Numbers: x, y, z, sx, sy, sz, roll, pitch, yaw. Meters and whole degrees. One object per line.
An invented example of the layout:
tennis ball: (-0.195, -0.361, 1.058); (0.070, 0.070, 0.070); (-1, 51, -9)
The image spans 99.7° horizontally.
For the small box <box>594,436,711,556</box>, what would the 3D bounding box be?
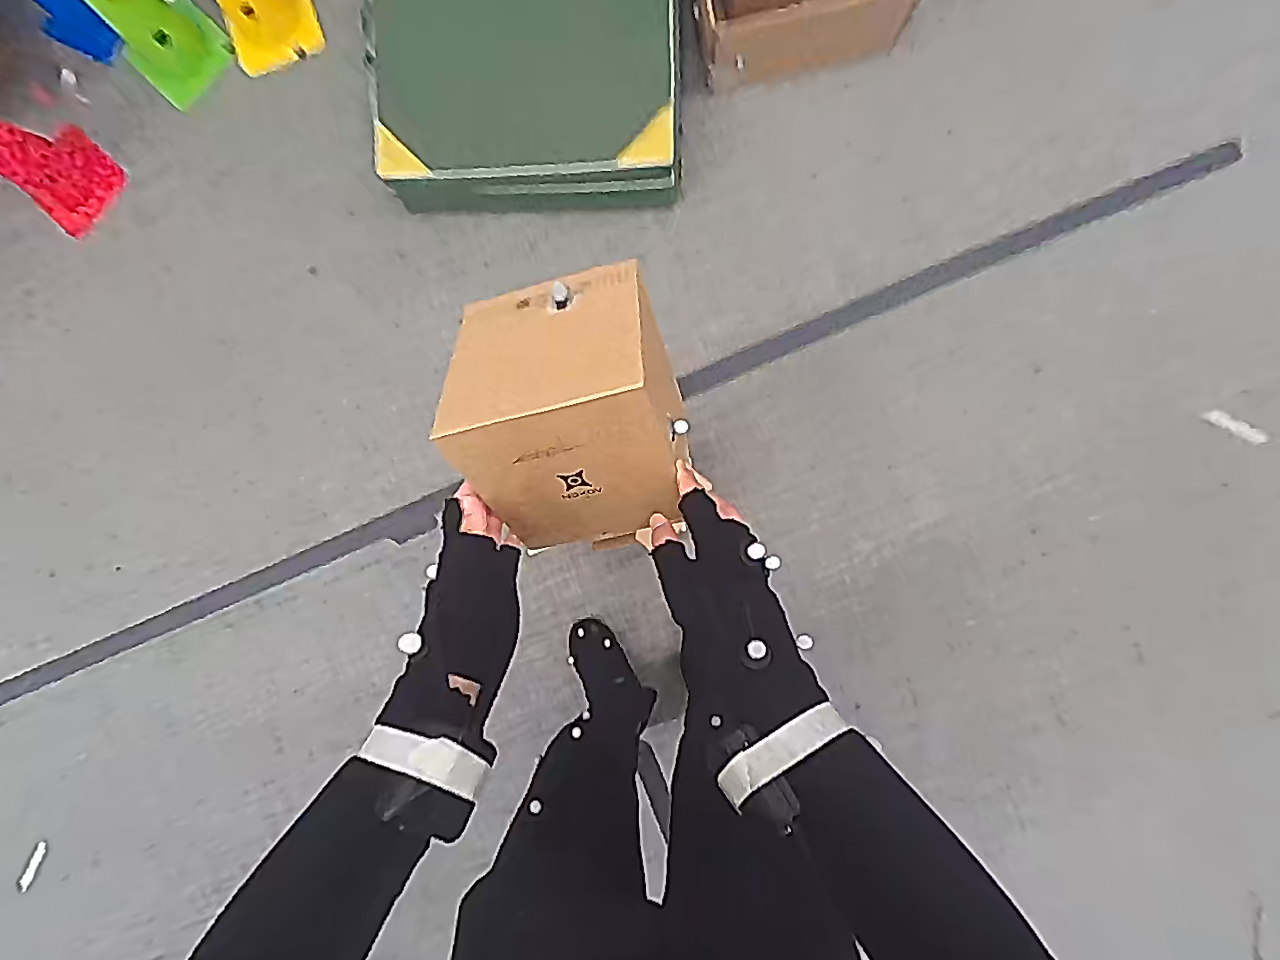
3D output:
small box: (0.031, 0.032, 1.114); (0.168, 0.176, 0.179); (35, 92, 3)
